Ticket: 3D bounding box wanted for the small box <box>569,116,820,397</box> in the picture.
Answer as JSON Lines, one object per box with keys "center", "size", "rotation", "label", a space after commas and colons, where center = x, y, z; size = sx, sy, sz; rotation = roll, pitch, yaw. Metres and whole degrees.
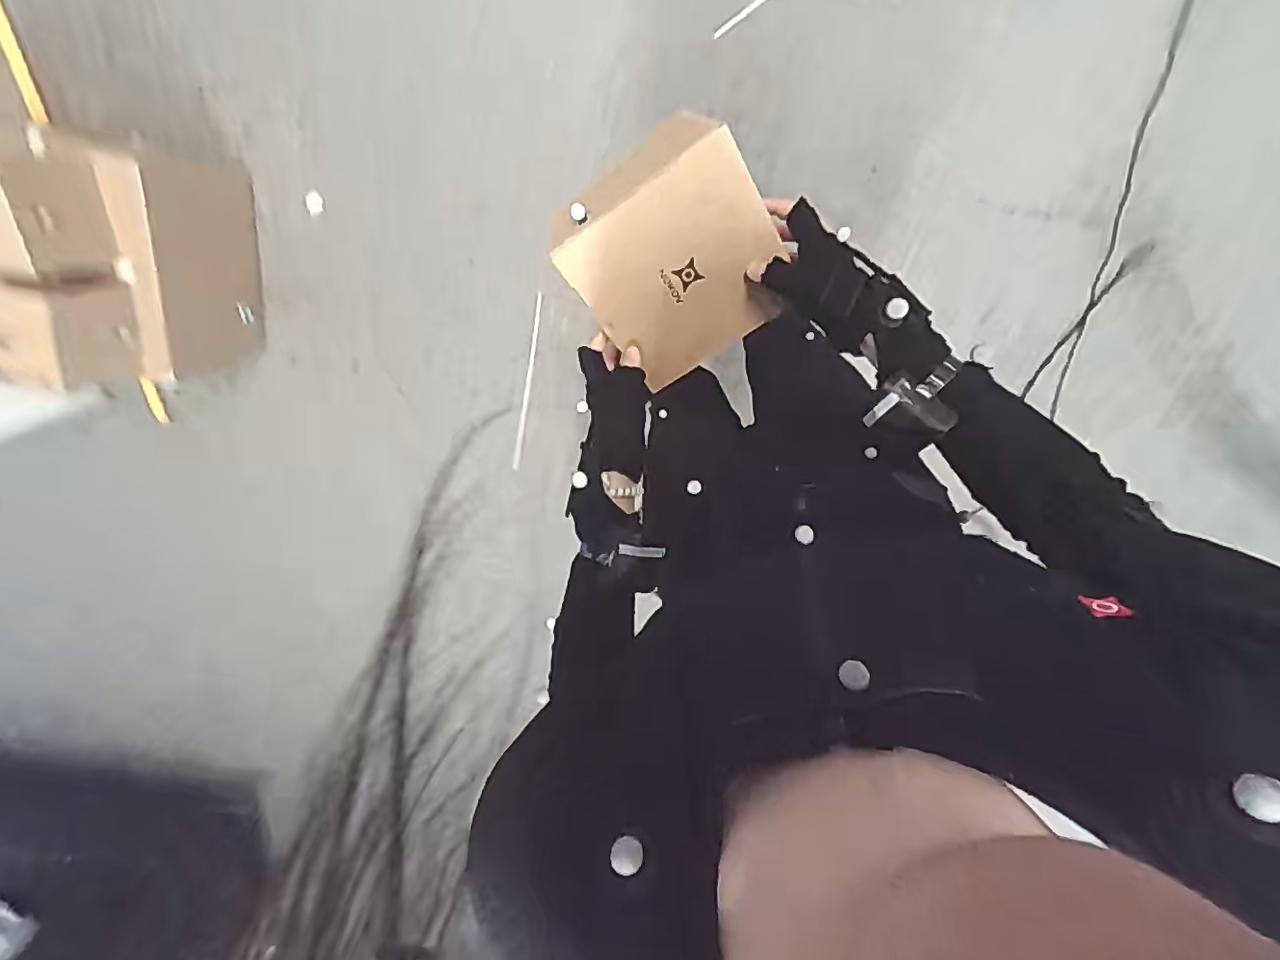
{"center": [0.044, -0.222, 0.533], "size": [0.179, 0.176, 0.168], "rotation": [-29, 126, 16], "label": "small box"}
